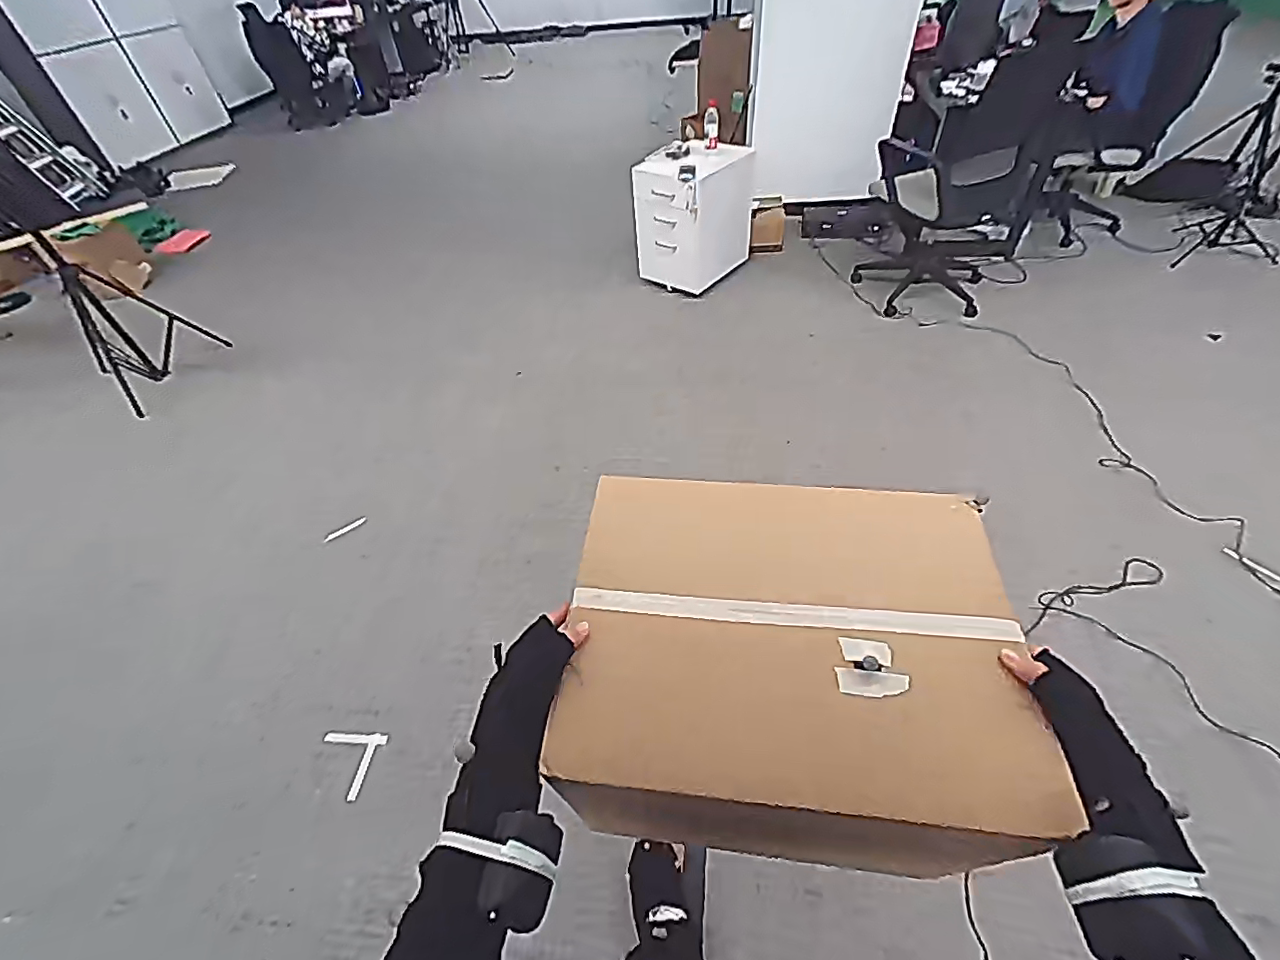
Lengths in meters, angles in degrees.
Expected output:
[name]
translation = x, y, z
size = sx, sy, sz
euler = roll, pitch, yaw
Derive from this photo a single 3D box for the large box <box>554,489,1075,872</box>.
[large box]
translation = 0.147, 0.230, 0.623
size = 0.408, 0.320, 0.320
euler = 3, 51, 7
